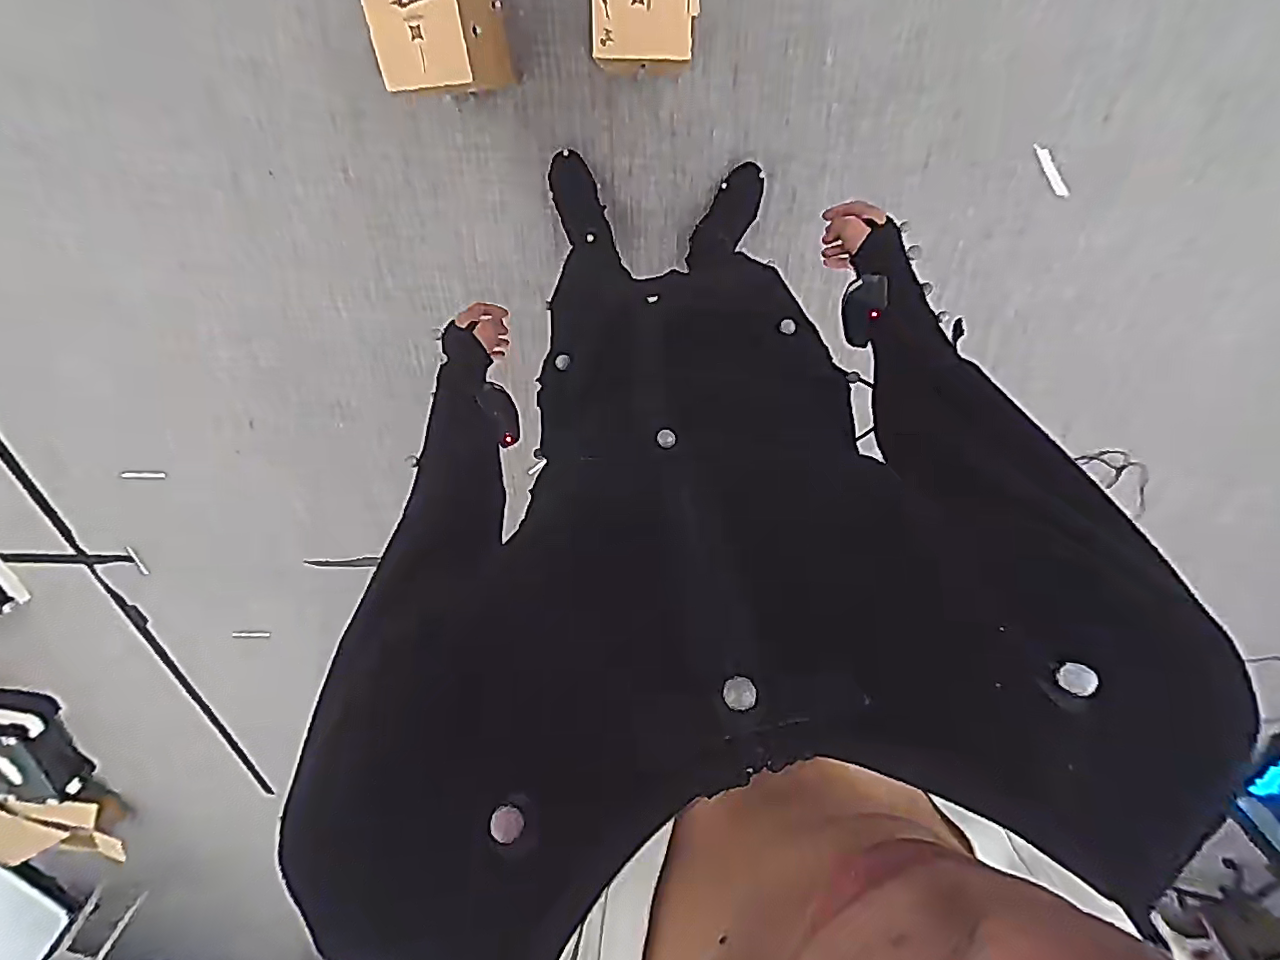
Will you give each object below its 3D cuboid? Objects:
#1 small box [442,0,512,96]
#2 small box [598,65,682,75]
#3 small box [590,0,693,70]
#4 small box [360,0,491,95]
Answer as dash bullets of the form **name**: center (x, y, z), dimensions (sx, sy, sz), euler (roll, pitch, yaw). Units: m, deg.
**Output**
- **small box**: center (-0.379, -0.922, 1.129), dimensions (0.168, 0.176, 0.179), euler (-5, 124, 4)
- **small box**: center (0.001, -0.942, 1.112), dimensions (0.179, 0.176, 0.168), euler (1, 124, -1)
- **small box**: center (0.001, -0.851, 0.975), dimensions (0.179, 0.176, 0.168), euler (1, 123, -2)
- **small box**: center (-0.388, -0.826, 0.996), dimensions (0.168, 0.176, 0.179), euler (-3, 124, 3)
